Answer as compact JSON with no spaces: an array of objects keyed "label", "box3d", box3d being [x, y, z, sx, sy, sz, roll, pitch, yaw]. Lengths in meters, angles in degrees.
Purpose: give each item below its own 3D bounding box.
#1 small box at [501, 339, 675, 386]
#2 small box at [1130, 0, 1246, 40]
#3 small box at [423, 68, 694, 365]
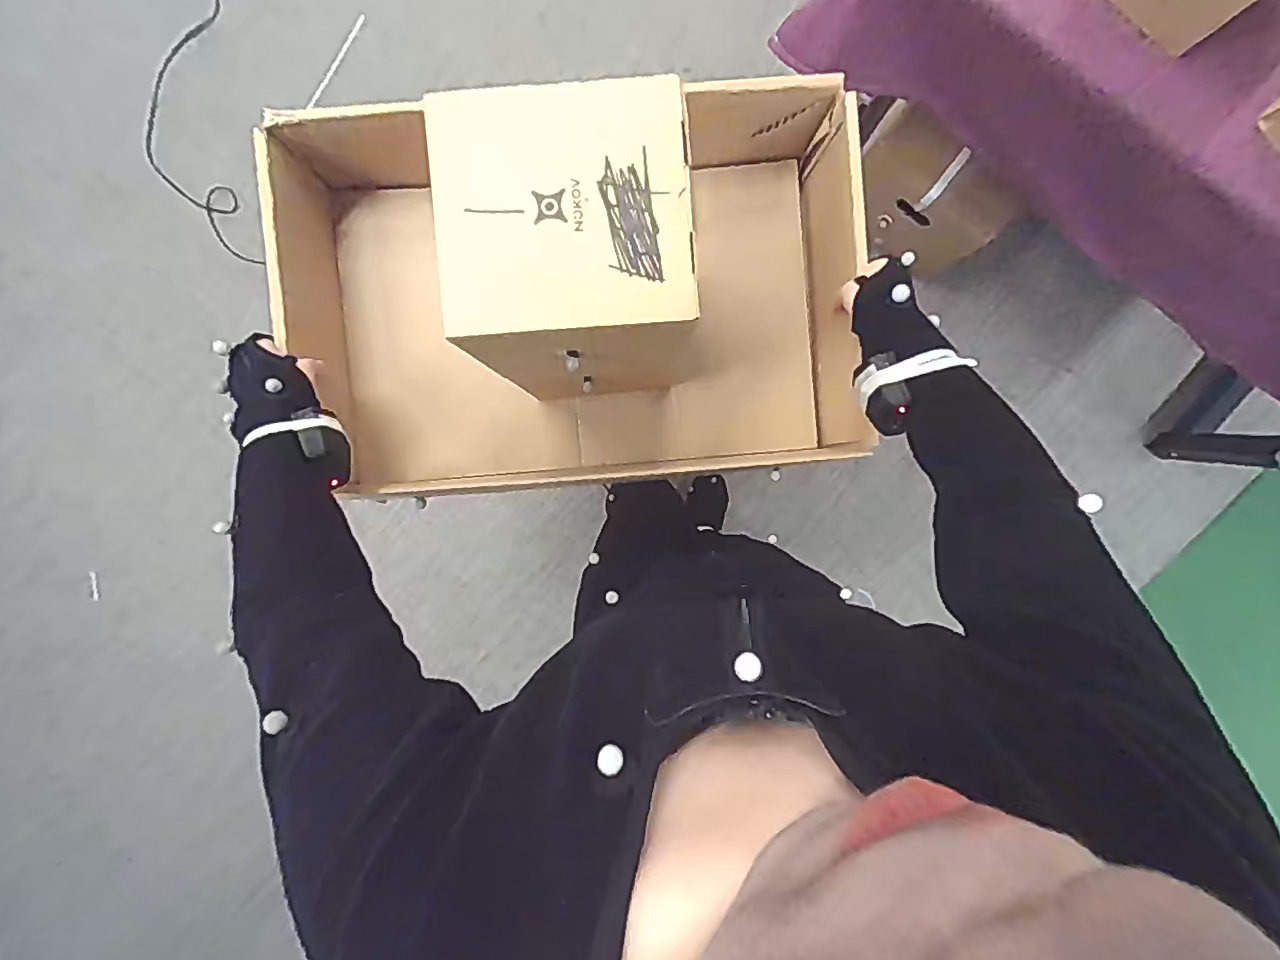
[{"label":"small box","box3d":[-0.057,-0.201,0.608,0.179,0.176,0.168,-5,93,-1]},{"label":"small box","box3d":[0.620,-0.614,0.548,0.179,0.176,0.168,40,99,-1]},{"label":"small box","box3d":[-0.055,-0.193,0.444,0.179,0.176,0.168,-4,92,0]}]
